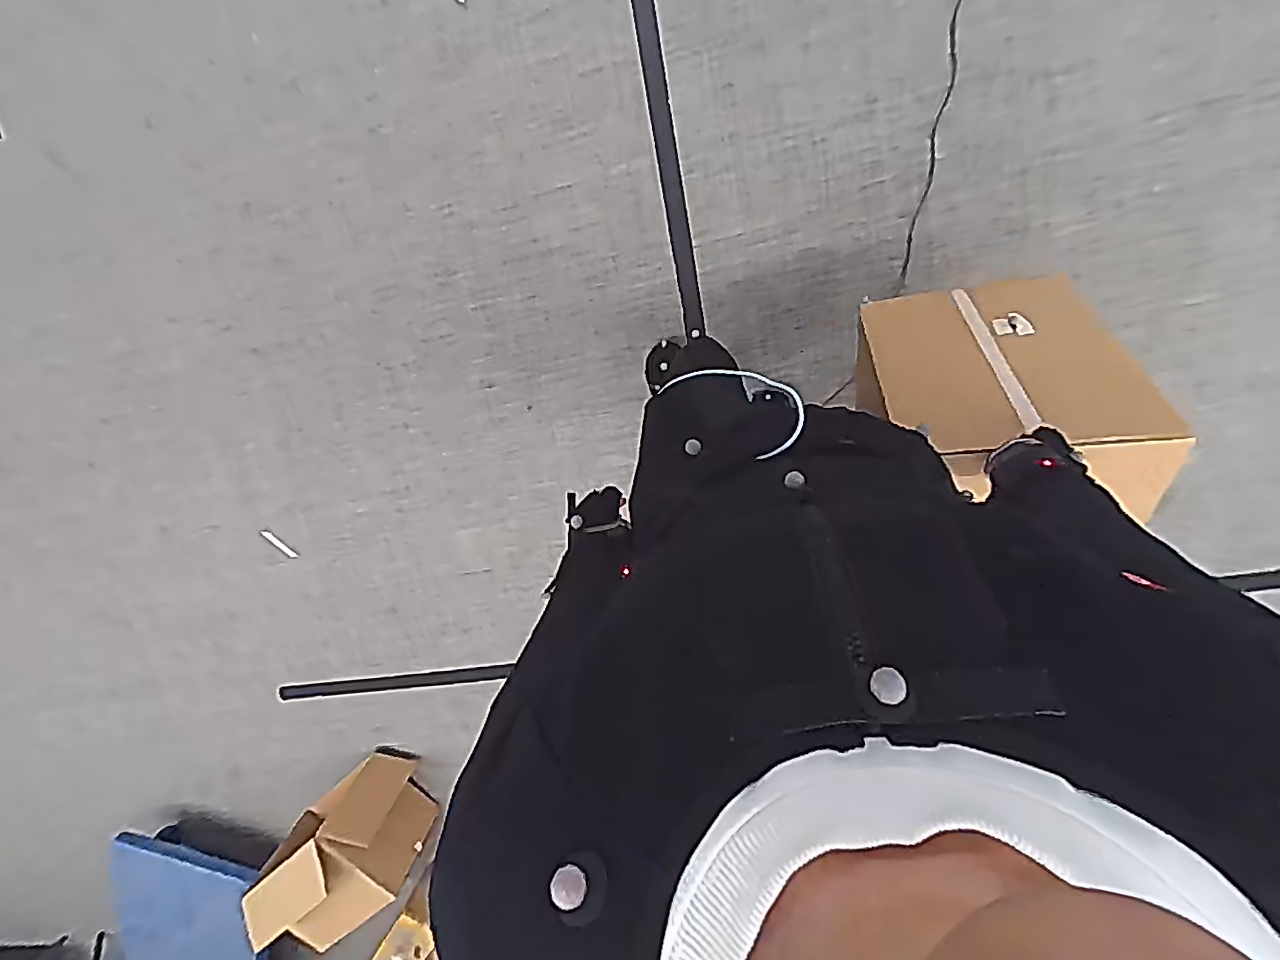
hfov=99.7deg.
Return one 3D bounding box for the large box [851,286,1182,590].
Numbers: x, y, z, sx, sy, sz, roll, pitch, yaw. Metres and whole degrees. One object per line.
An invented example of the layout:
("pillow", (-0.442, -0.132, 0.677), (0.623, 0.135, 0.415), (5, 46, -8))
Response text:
("large box", (0.548, -0.071, 0.905), (0.320, 0.408, 0.320), (-4, 133, 14))
